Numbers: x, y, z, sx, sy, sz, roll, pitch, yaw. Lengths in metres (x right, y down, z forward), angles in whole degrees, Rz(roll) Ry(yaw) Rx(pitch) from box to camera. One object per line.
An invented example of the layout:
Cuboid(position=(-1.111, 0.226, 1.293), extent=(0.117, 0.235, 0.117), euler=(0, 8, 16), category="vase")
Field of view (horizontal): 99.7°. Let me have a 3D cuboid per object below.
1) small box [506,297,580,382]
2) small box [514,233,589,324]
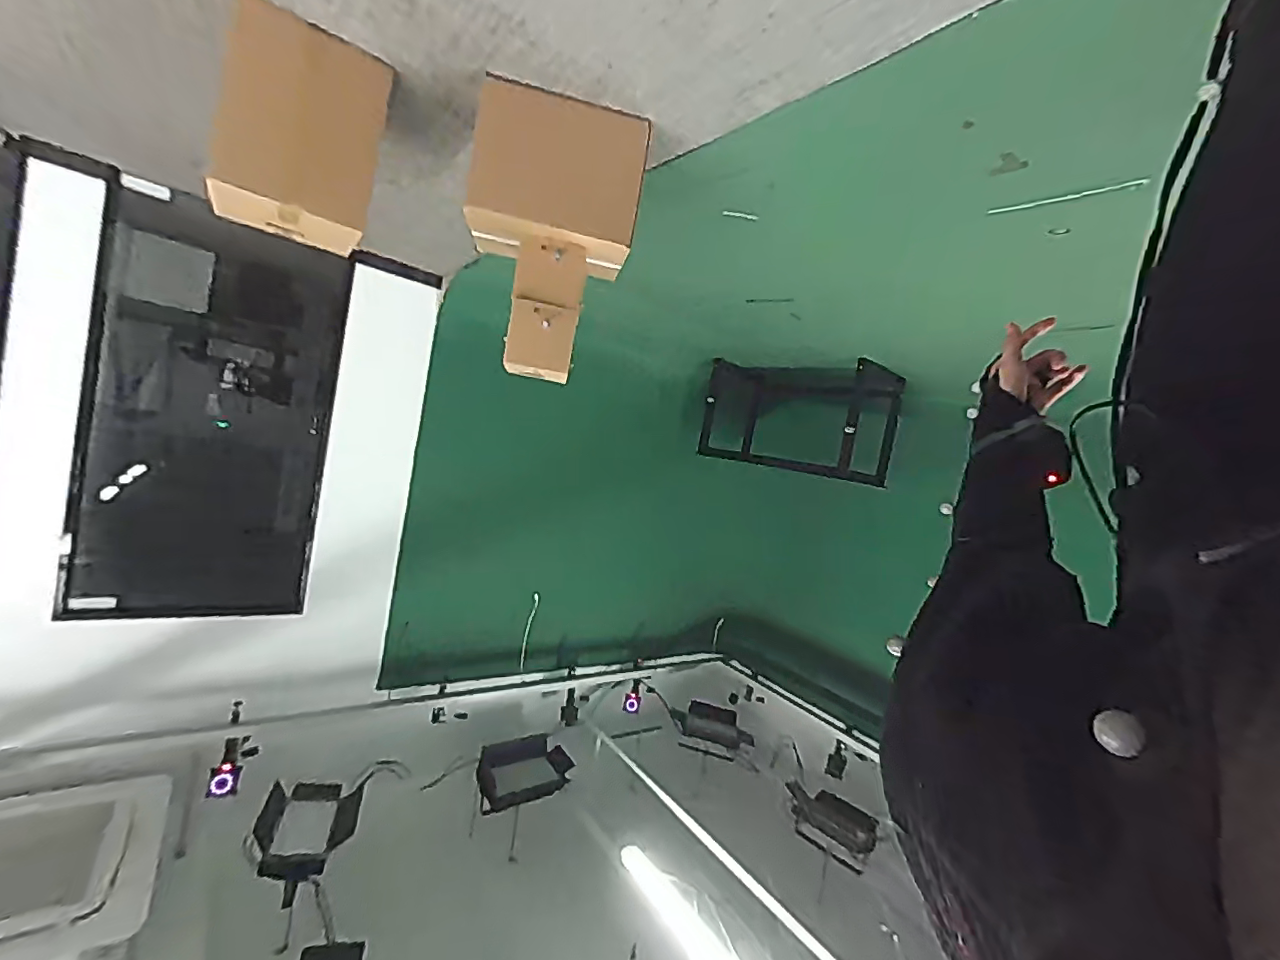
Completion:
Cuboid(position=(-0.257, -0.370, 1.442), extent=(0.168, 0.176, 0.179), euler=(9, -178, -10), category="small box")
Cuboid(position=(-0.231, -0.532, 1.447), extent=(0.168, 0.176, 0.179), euler=(9, -178, -5), category="small box")
